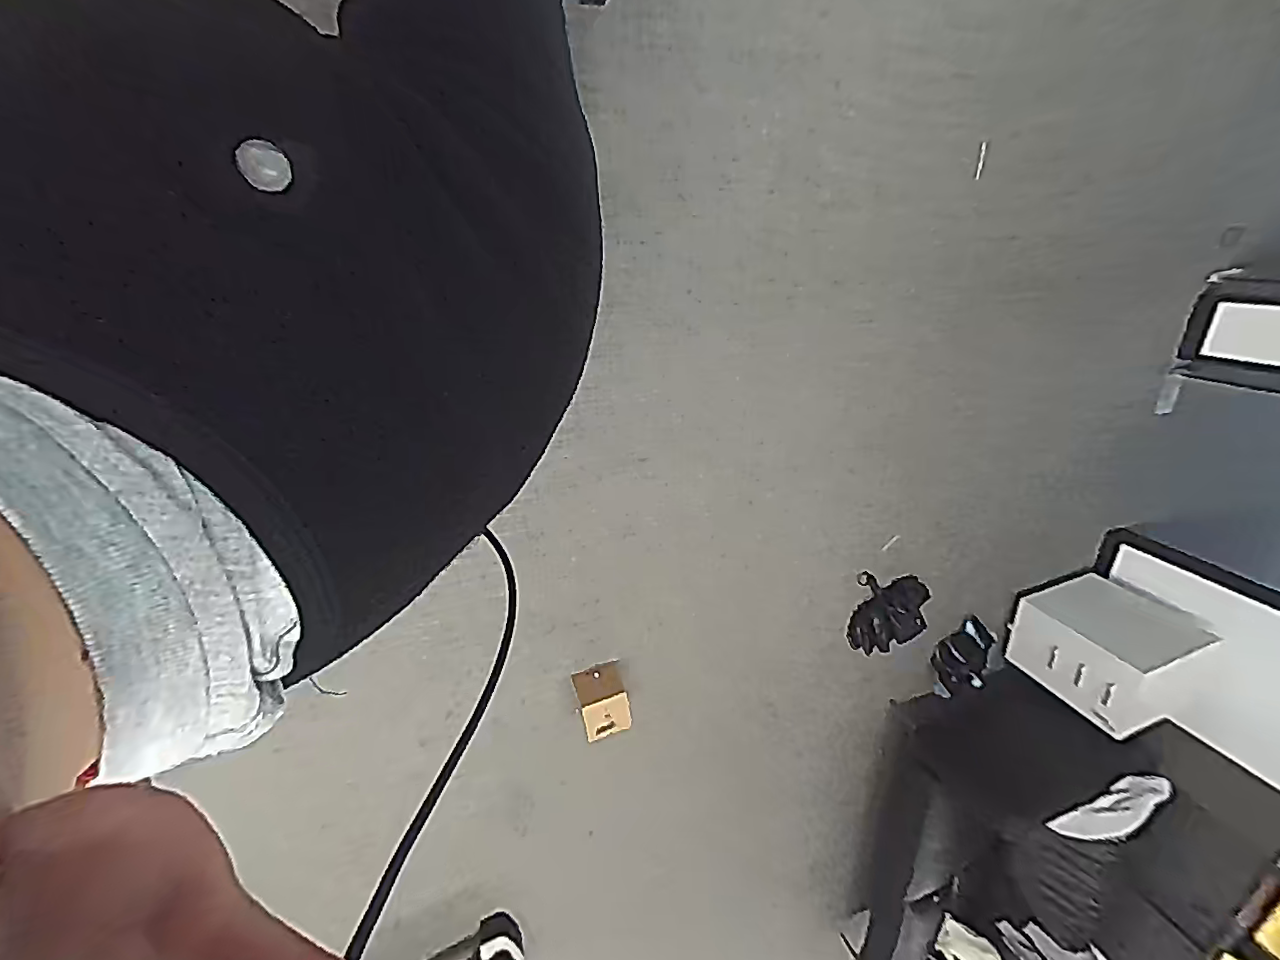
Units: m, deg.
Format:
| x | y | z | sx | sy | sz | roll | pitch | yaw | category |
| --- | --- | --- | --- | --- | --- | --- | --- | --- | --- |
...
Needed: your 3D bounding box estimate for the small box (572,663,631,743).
| x | y | z | sx | sy | sz | roll | pitch | yaw | category |
| --- | --- | --- | --- | --- | --- | --- | --- | --- | --- |
| -0.141 | 0.807 | 1.969 | 0.168 | 0.176 | 0.179 | -15 | 116 | -16 | small box |
